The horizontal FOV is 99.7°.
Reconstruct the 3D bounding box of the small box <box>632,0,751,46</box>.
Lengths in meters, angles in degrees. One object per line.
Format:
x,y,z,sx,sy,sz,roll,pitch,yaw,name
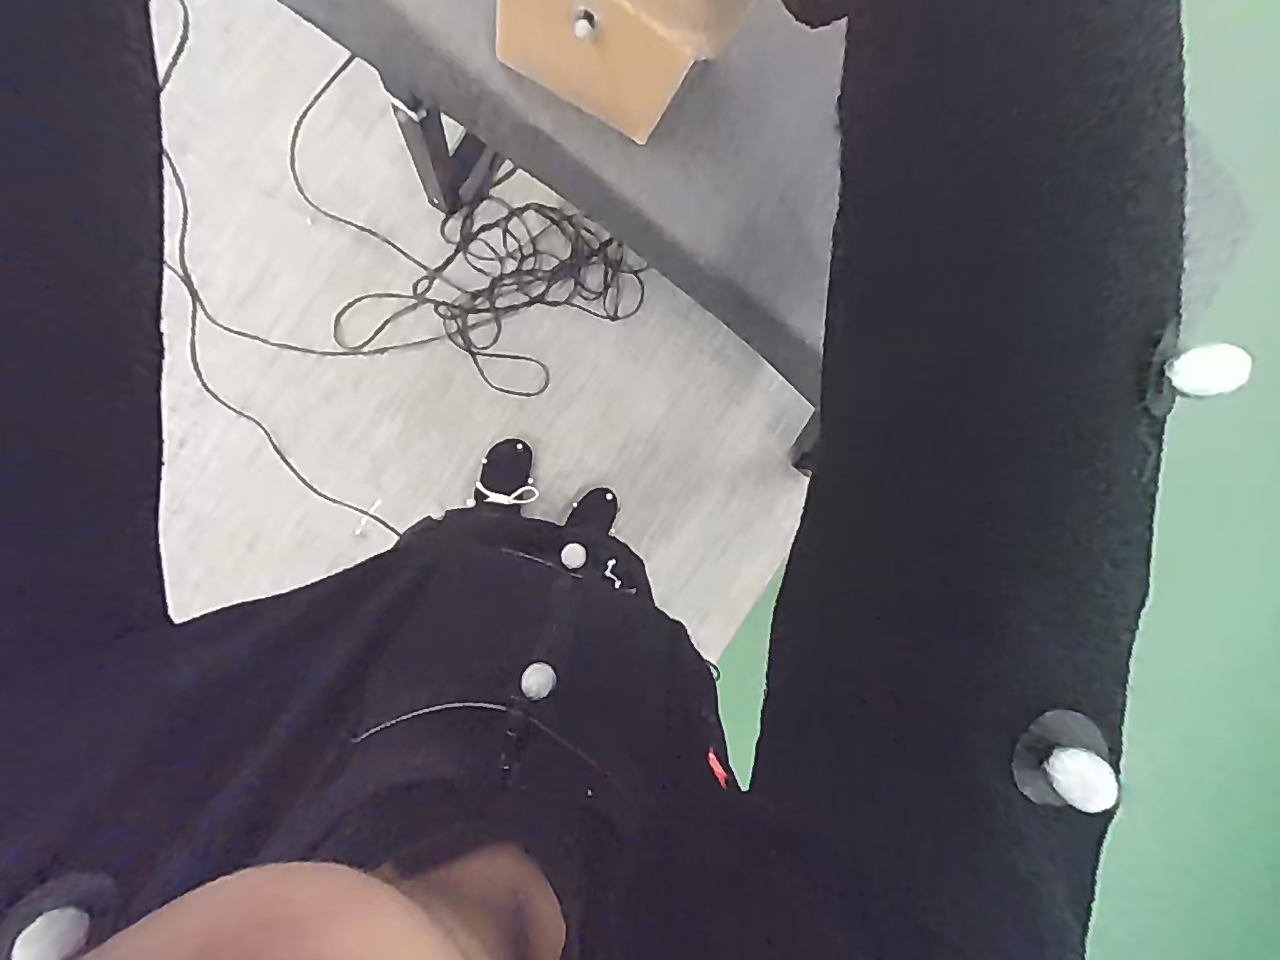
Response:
0.040,-0.447,0.353,0.179,0.176,0.168,23,92,-18,small box

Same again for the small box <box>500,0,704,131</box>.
-0.019,-0.470,0.504,0.179,0.176,0.168,22,91,-16,small box
